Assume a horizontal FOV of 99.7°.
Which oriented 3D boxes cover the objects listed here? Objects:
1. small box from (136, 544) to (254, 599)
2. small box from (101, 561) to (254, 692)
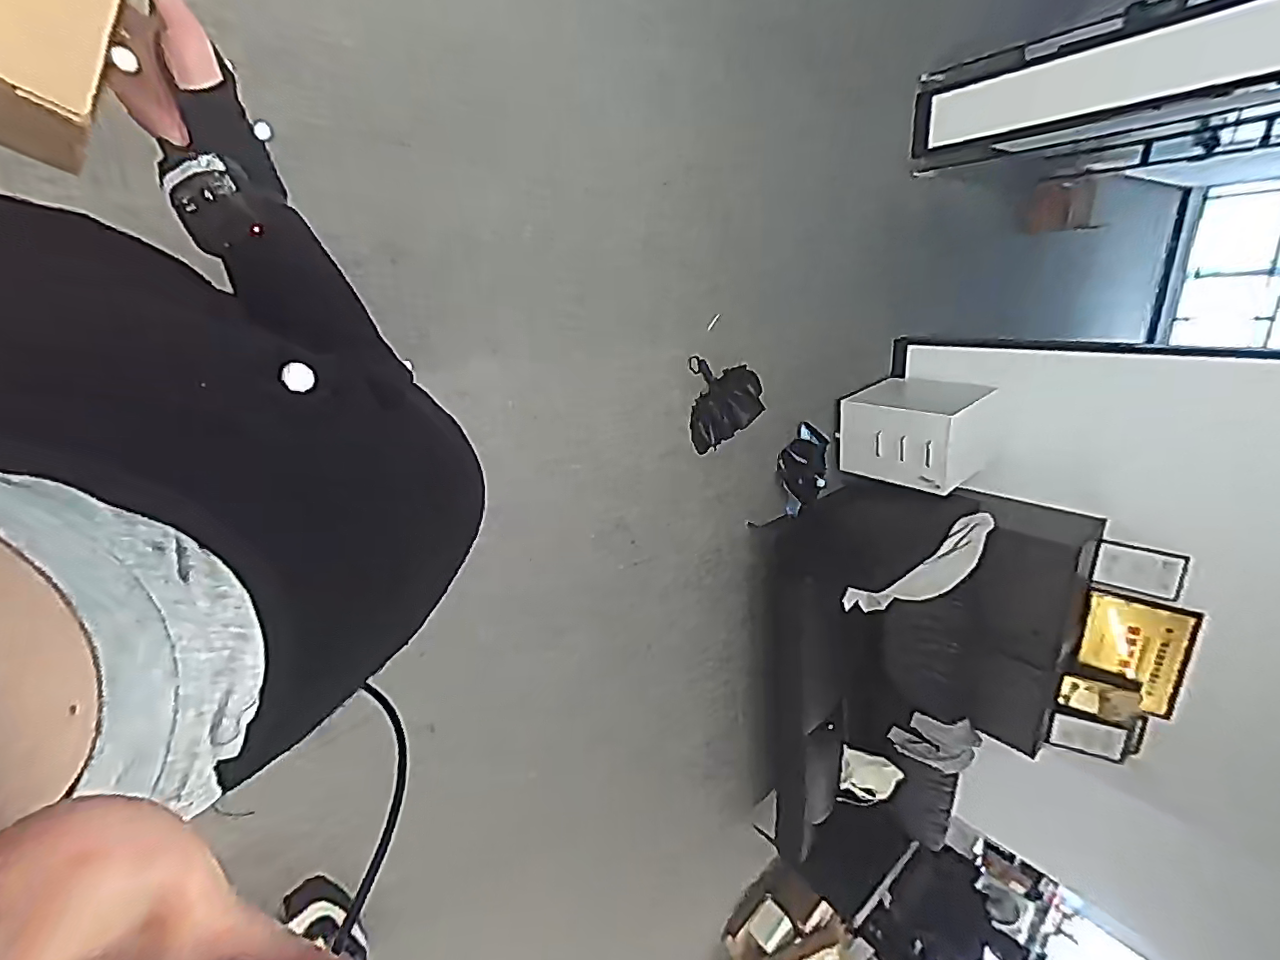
[{"bbox_3d":[-1.024,0.267,1.234,0.168,0.176,0.179,34,81,-41],"label":"small box"},{"bbox_3d":[-0.930,0.293,1.100,0.168,0.176,0.179,44,72,-39],"label":"small box"}]
